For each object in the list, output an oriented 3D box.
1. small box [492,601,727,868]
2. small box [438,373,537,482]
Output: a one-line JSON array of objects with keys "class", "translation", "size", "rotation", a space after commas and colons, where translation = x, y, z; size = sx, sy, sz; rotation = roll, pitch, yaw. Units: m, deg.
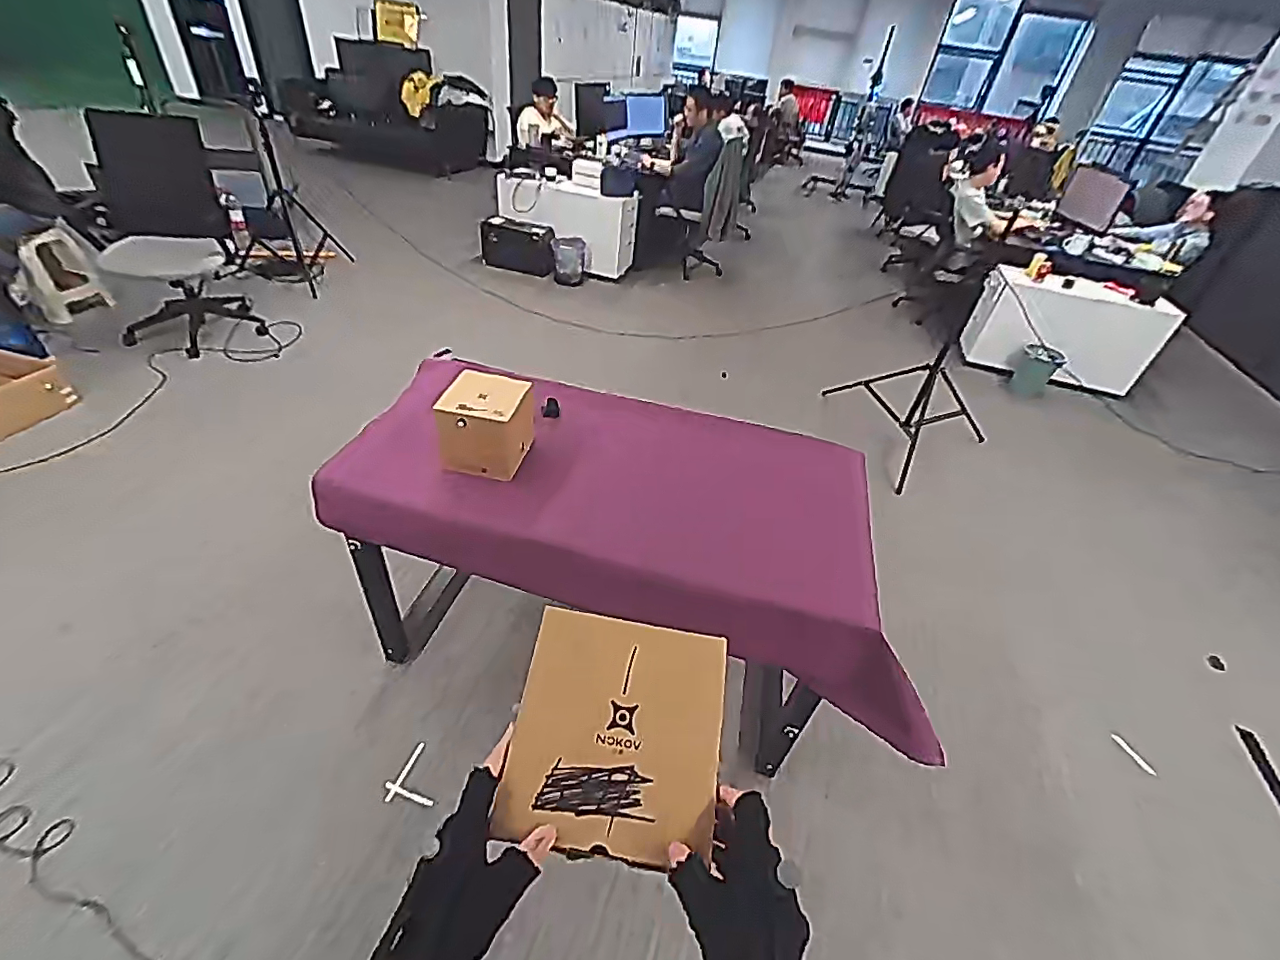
[{"class": "small box", "translation": [-0.023, 0.237, 0.505], "size": [0.168, 0.176, 0.179], "rotation": [11, 57, 0]}, {"class": "small box", "translation": [-0.345, -0.123, 1.250], "size": [0.168, 0.176, 0.179], "rotation": [11, 38, 3]}]
